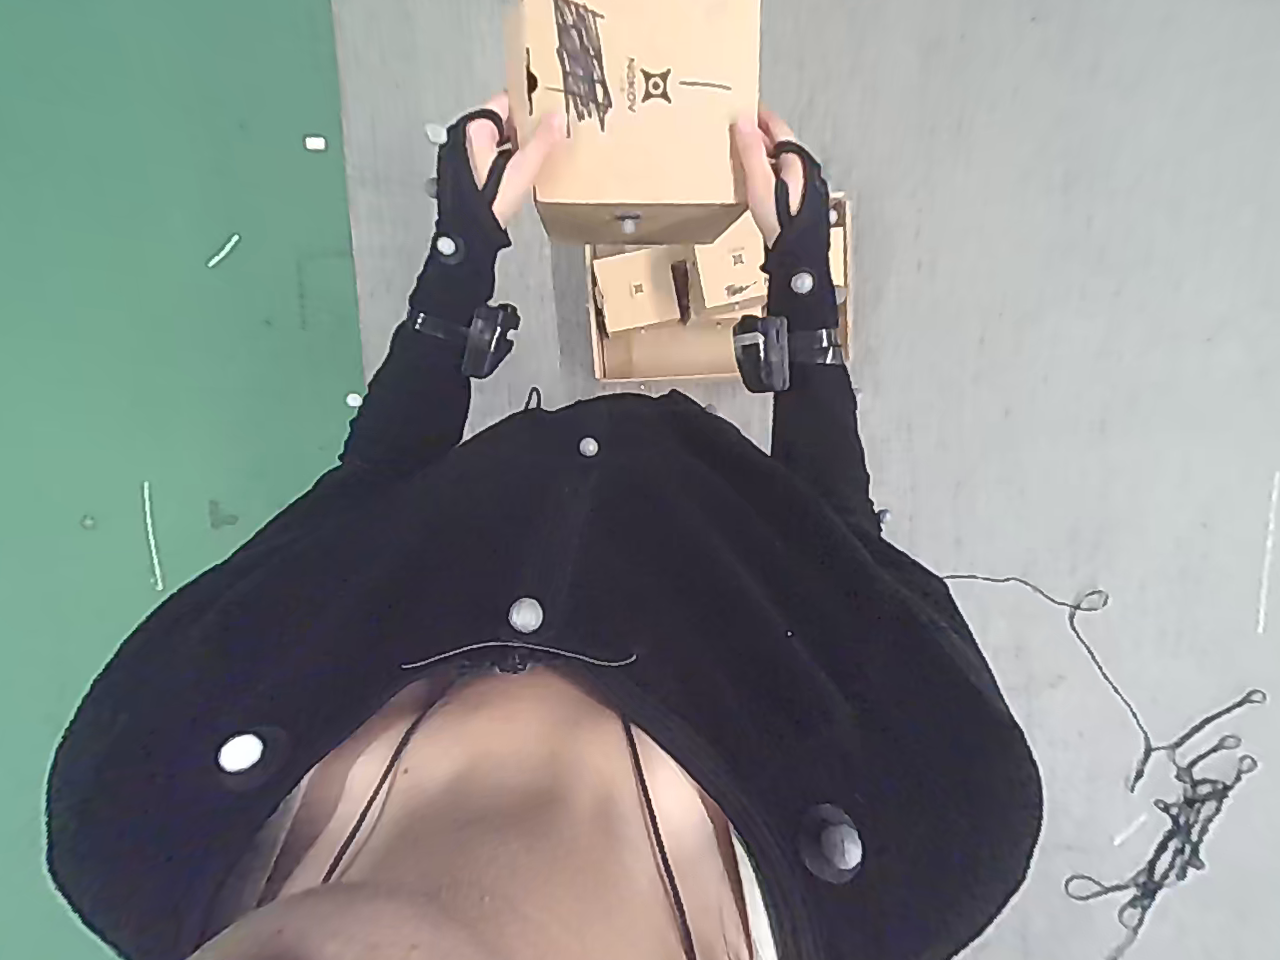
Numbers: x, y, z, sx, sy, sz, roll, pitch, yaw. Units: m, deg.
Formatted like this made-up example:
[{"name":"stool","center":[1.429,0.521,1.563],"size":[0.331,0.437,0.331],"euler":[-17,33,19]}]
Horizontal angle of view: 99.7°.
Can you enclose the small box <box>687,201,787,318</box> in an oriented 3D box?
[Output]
[{"name":"small box","center":[0.198,-0.459,1.150],"size":[0.168,0.176,0.179],"euler":[-12,98,2]}]

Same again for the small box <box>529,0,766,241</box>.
[{"name":"small box","center":[0.002,-0.316,0.481],"size":[0.179,0.176,0.168],"euler":[-2,104,-4]}]
